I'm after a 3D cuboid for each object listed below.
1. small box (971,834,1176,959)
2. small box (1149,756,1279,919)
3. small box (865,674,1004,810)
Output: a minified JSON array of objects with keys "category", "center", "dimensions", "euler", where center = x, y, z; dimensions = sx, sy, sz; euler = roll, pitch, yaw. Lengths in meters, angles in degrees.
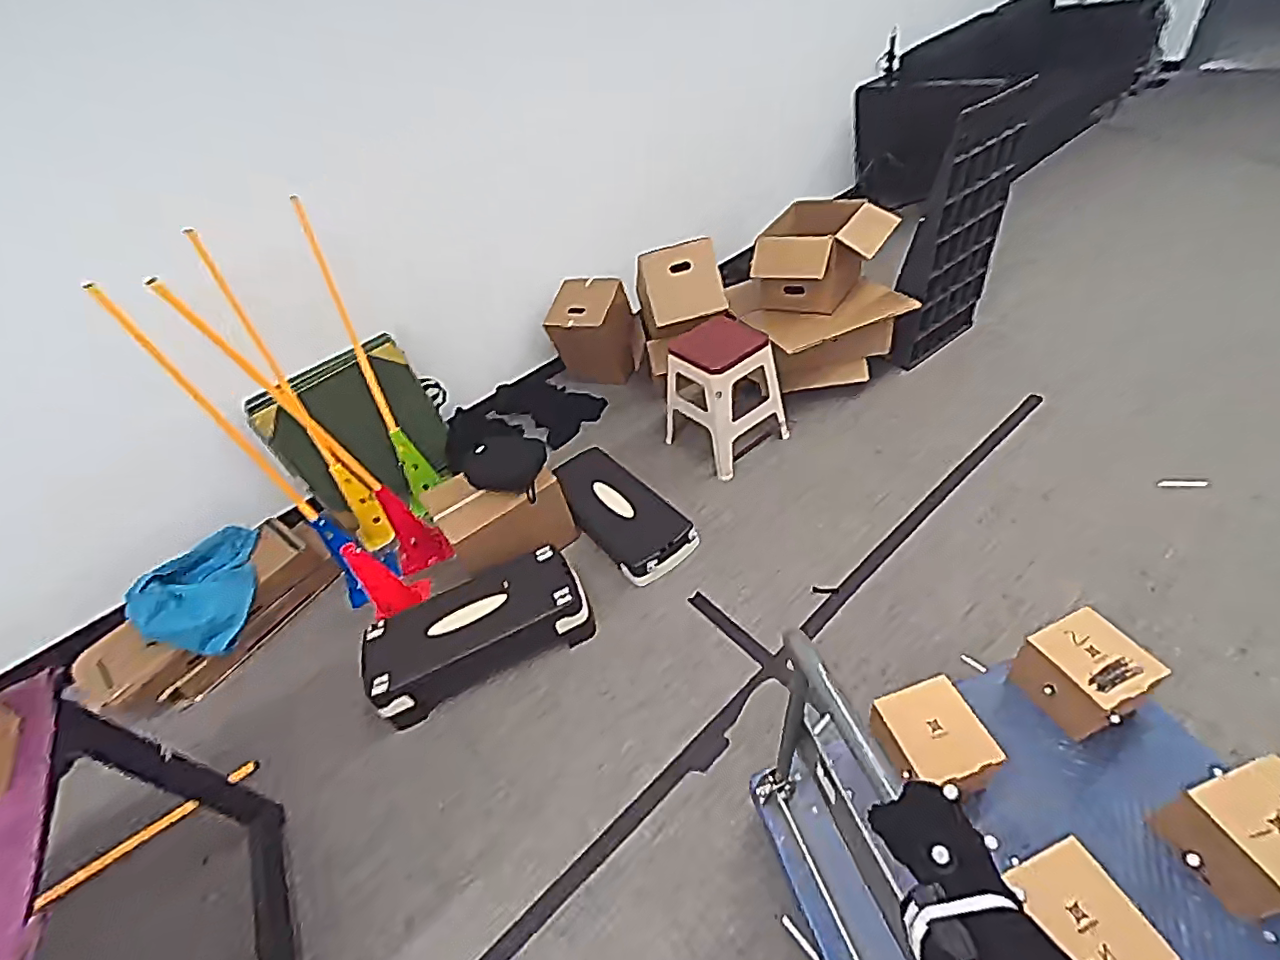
[{"category":"small box","center":[0.683,0.725,0.880],"dimensions":[0.168,0.176,0.179],"euler":[-21,43,-8]},{"category":"small box","center":[1.035,0.604,0.914],"dimensions":[0.179,0.176,0.168],"euler":[-20,43,-4]},{"category":"small box","center":[0.585,0.536,1.105],"dimensions":[0.168,0.176,0.179],"euler":[-18,44,-5]}]
